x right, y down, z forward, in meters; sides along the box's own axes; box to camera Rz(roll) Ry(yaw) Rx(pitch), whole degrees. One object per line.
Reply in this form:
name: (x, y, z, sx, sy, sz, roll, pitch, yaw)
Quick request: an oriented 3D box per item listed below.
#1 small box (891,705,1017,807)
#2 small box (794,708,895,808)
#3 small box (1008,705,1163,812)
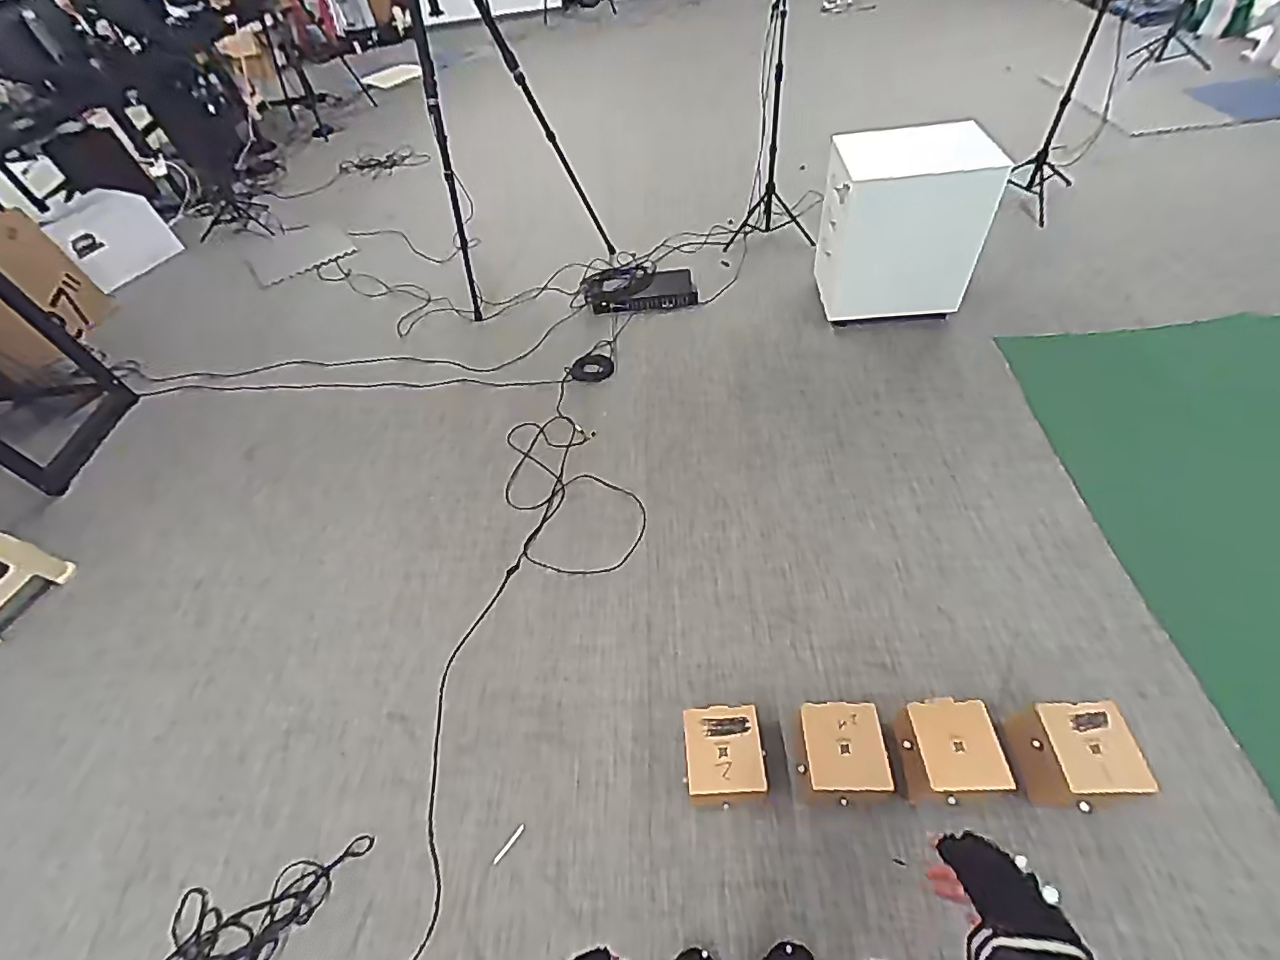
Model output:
small box: (0.681, 0.616, 1.197, 0.168, 0.176, 0.179, -4, 50, 4)
small box: (0.450, 0.628, 1.215, 0.168, 0.176, 0.179, -3, 51, 5)
small box: (0.943, 0.604, 1.169, 0.168, 0.176, 0.179, -4, 51, 5)
